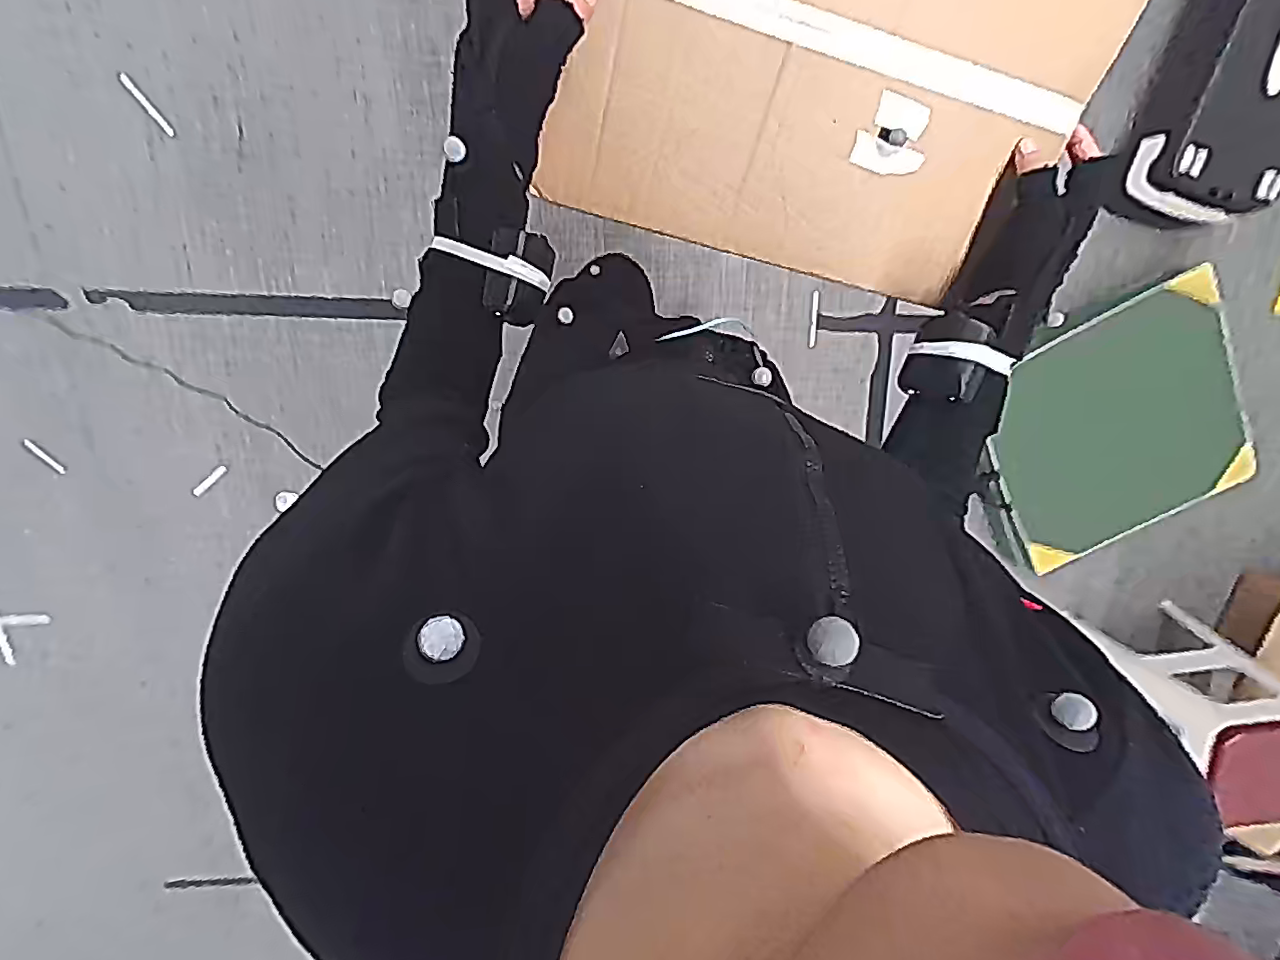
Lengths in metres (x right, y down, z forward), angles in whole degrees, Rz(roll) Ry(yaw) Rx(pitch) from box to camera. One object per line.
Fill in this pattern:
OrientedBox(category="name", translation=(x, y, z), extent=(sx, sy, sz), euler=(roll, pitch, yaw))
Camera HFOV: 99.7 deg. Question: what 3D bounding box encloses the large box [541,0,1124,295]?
OrientedBox(category="large box", translation=(0.135, -0.415, 0.521), extent=(0.408, 0.320, 0.320), euler=(10, 126, -10))
